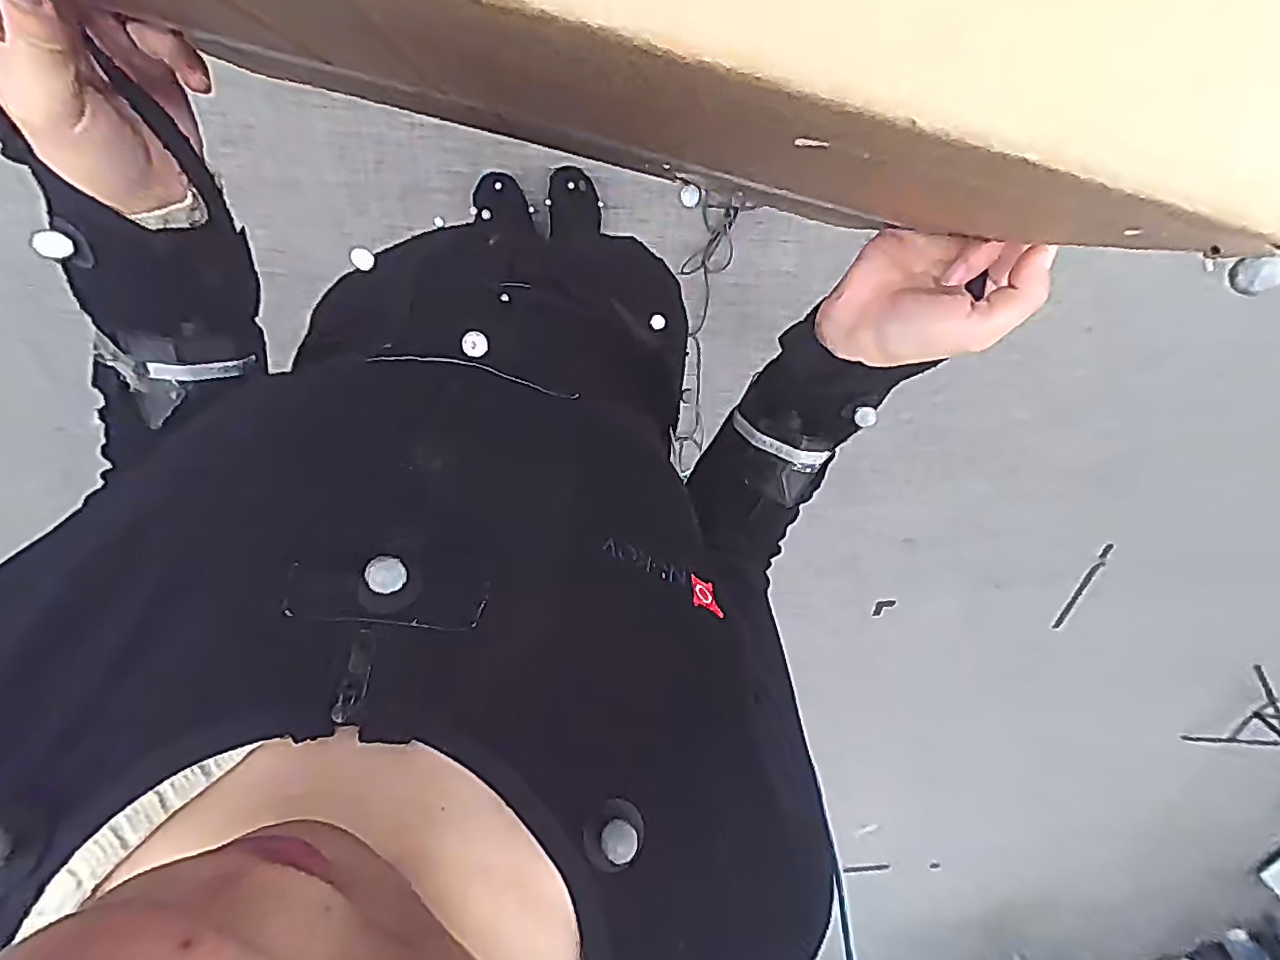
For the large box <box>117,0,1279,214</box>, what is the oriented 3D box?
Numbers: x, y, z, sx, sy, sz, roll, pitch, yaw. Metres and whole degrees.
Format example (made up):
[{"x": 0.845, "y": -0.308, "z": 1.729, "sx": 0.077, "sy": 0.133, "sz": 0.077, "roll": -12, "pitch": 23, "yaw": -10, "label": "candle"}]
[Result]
[{"x": 0.003, "y": -0.302, "z": 0.172, "sx": 0.408, "sy": 0.320, "sz": 0.320, "roll": 8, "pitch": 117, "yaw": -11, "label": "large box"}]
